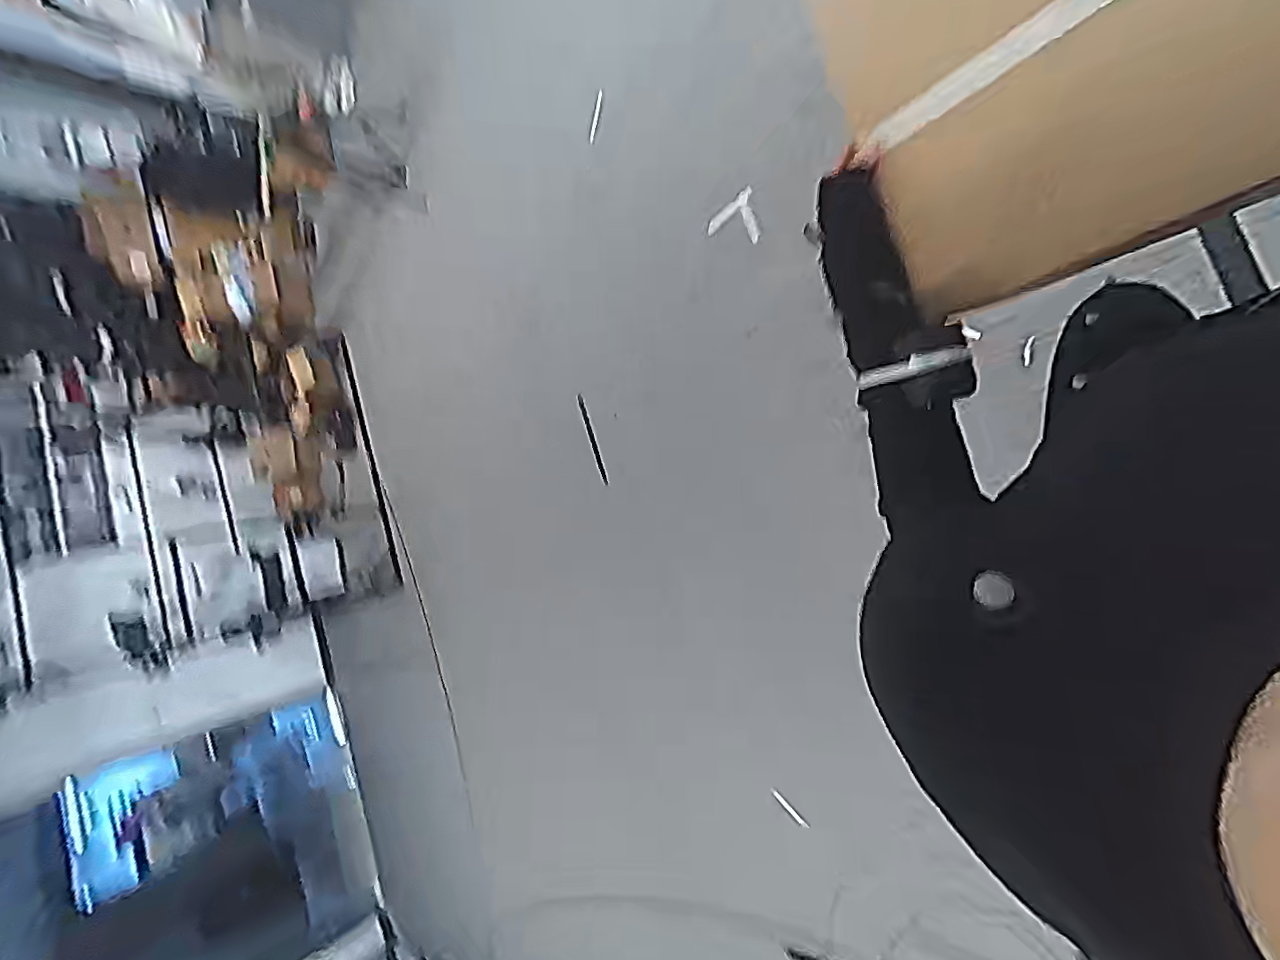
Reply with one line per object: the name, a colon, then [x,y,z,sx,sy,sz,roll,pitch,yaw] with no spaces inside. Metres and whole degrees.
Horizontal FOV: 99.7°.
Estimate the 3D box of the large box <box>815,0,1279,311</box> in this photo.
large box: [0.426,-0.372,0.436,0.408,0.320,0.320,-19,94,44]
